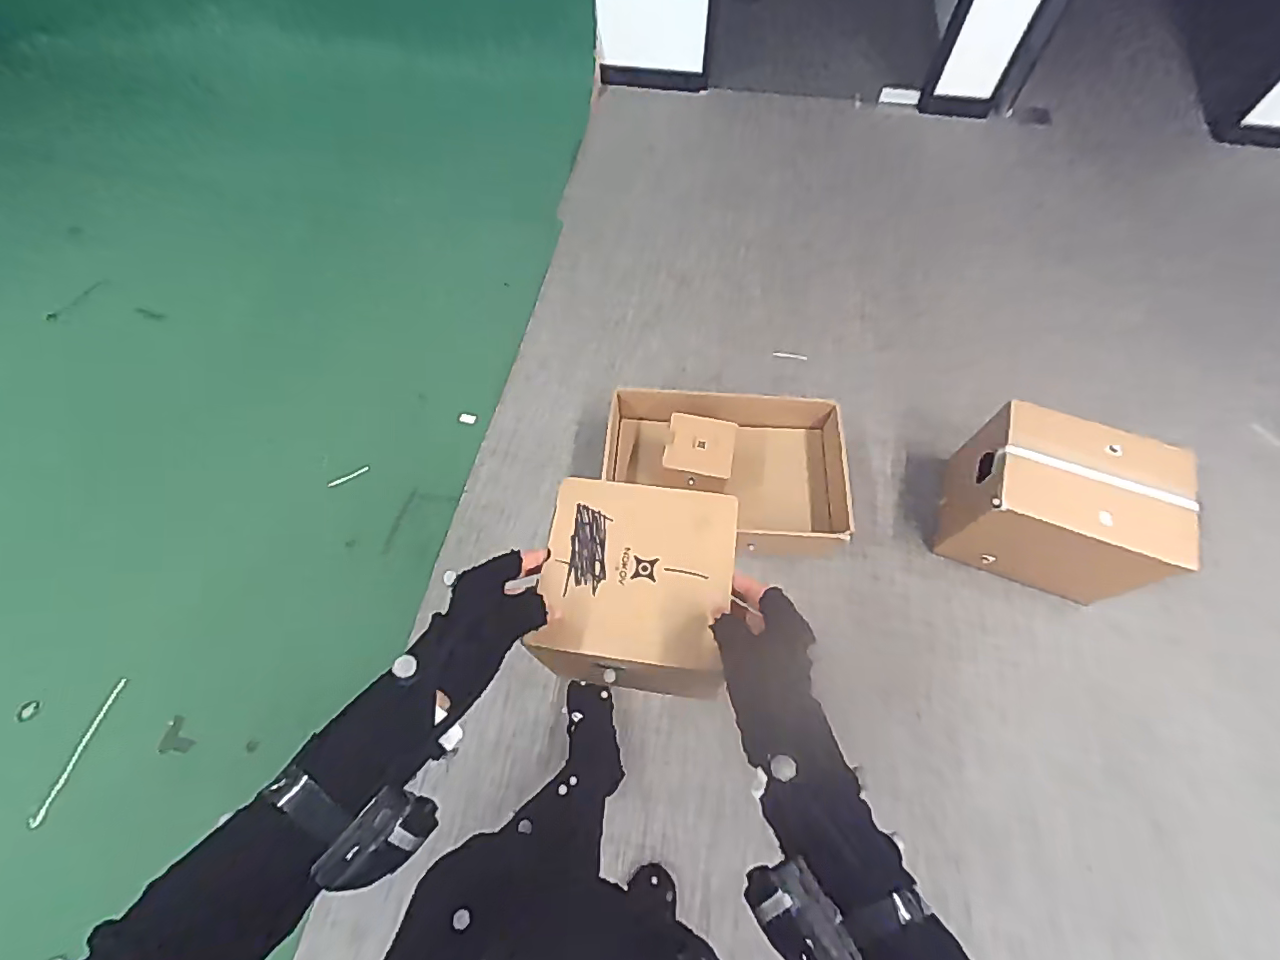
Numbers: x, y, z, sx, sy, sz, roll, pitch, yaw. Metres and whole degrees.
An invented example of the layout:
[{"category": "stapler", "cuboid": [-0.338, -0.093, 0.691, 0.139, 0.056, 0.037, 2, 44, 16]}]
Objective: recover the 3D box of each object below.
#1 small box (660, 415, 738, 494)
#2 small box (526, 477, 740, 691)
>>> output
[{"category": "small box", "cuboid": [0.153, -0.049, 1.446, 0.179, 0.176, 0.168, 11, 64, 3]}, {"category": "small box", "cuboid": [0.002, 0.115, 0.564, 0.179, 0.176, 0.168, 7, 62, 6]}]
